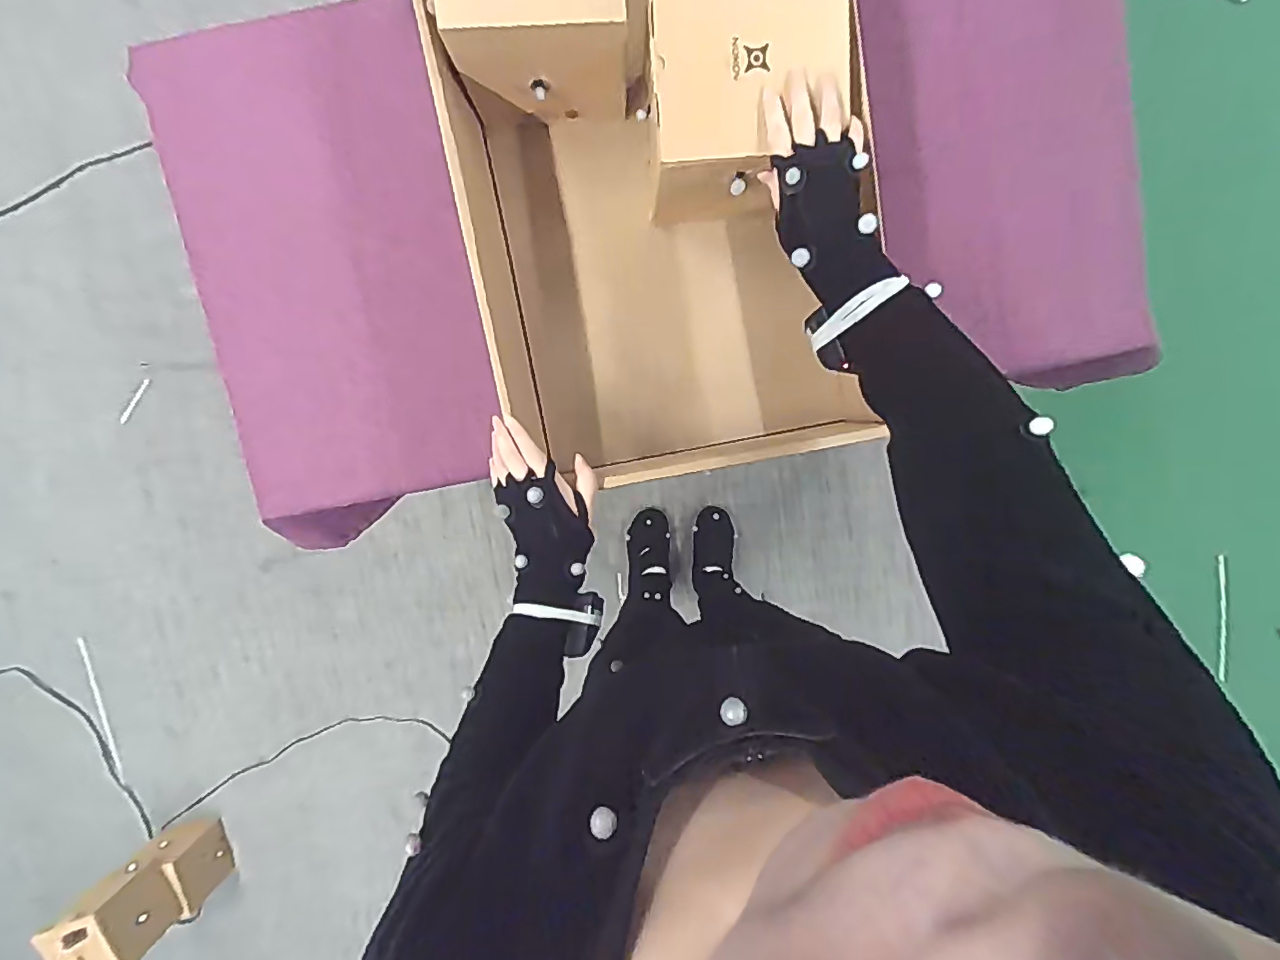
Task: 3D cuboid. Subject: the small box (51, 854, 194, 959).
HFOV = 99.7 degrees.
[{"bbox_3d":[-1.307,1.101,1.380,0.168,0.176,0.179,-21,97,4],"label":"small box"}]
